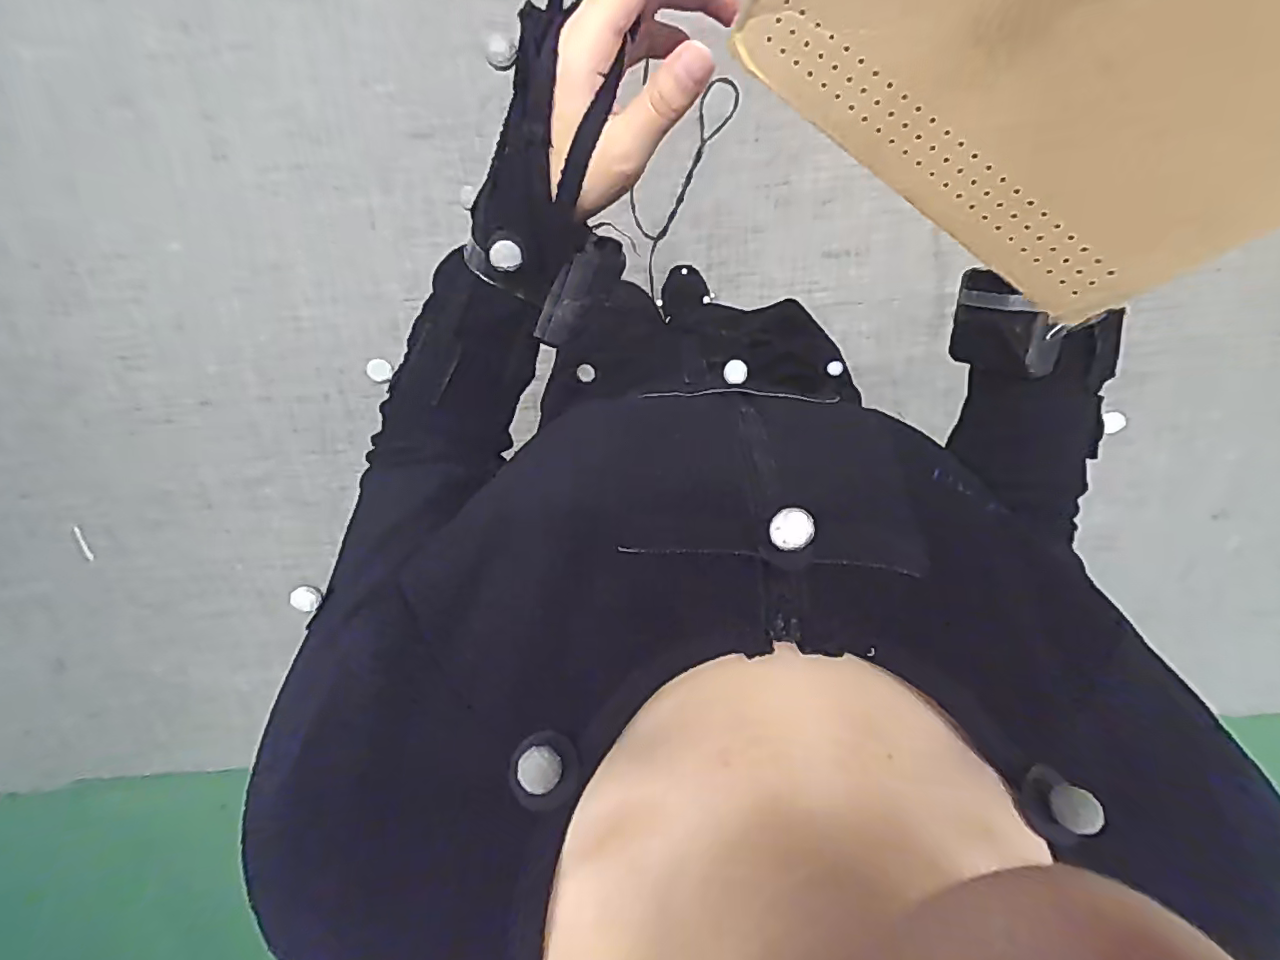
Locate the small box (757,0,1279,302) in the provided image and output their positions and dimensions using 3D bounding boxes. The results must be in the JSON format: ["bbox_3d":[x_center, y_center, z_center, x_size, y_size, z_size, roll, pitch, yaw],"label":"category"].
[{"bbox_3d":[0.166,-0.193,0.167,0.179,0.176,0.168,35,74,-3],"label":"small box"}]
